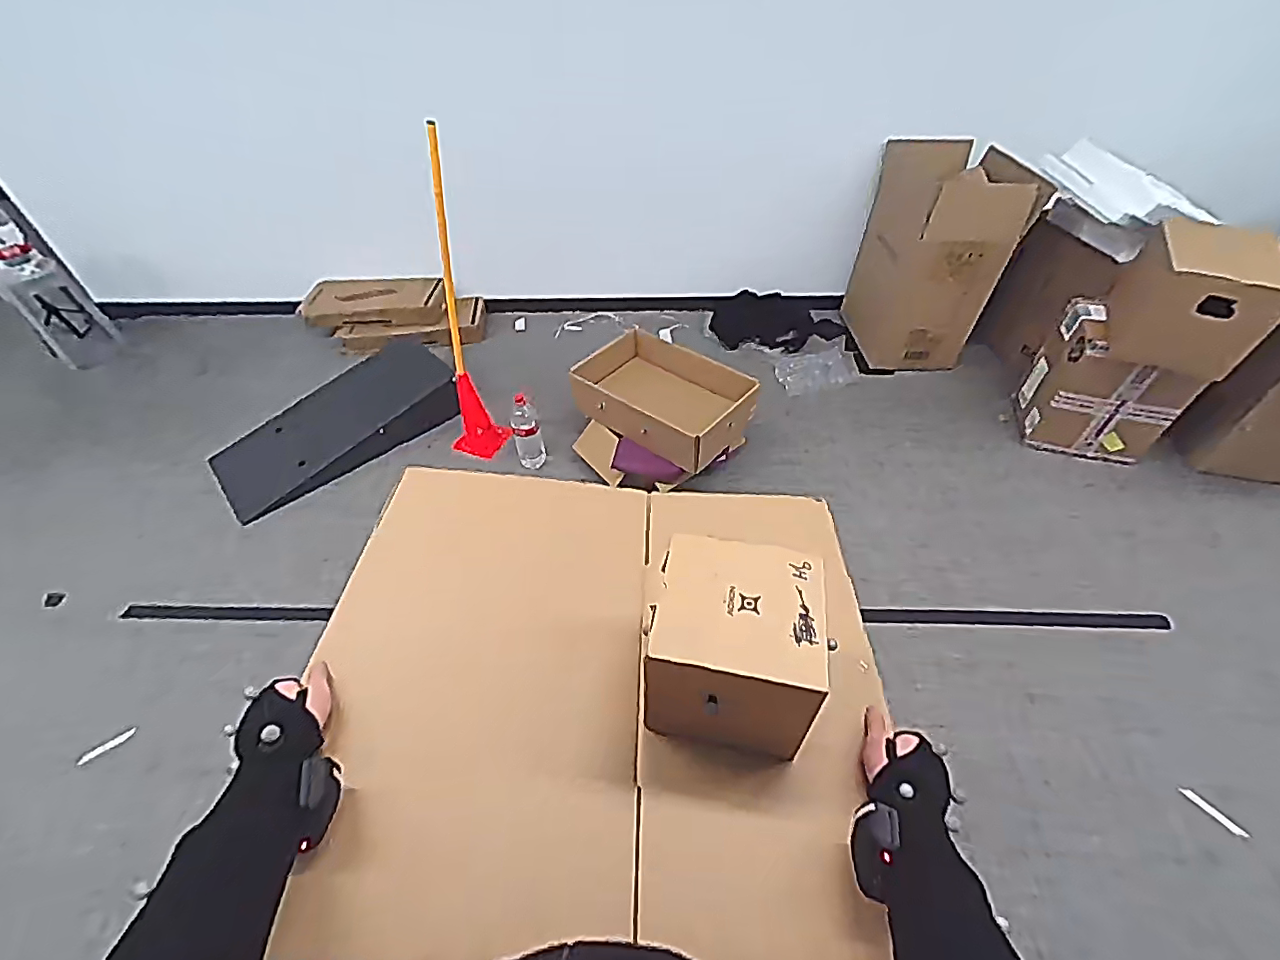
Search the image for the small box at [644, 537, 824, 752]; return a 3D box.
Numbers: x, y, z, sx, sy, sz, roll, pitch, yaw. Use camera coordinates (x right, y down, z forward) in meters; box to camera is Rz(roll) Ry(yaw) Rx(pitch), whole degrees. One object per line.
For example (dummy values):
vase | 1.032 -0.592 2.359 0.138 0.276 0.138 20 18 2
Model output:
small box | 0.107 0.192 0.630 0.179 0.176 0.168 8 44 9
